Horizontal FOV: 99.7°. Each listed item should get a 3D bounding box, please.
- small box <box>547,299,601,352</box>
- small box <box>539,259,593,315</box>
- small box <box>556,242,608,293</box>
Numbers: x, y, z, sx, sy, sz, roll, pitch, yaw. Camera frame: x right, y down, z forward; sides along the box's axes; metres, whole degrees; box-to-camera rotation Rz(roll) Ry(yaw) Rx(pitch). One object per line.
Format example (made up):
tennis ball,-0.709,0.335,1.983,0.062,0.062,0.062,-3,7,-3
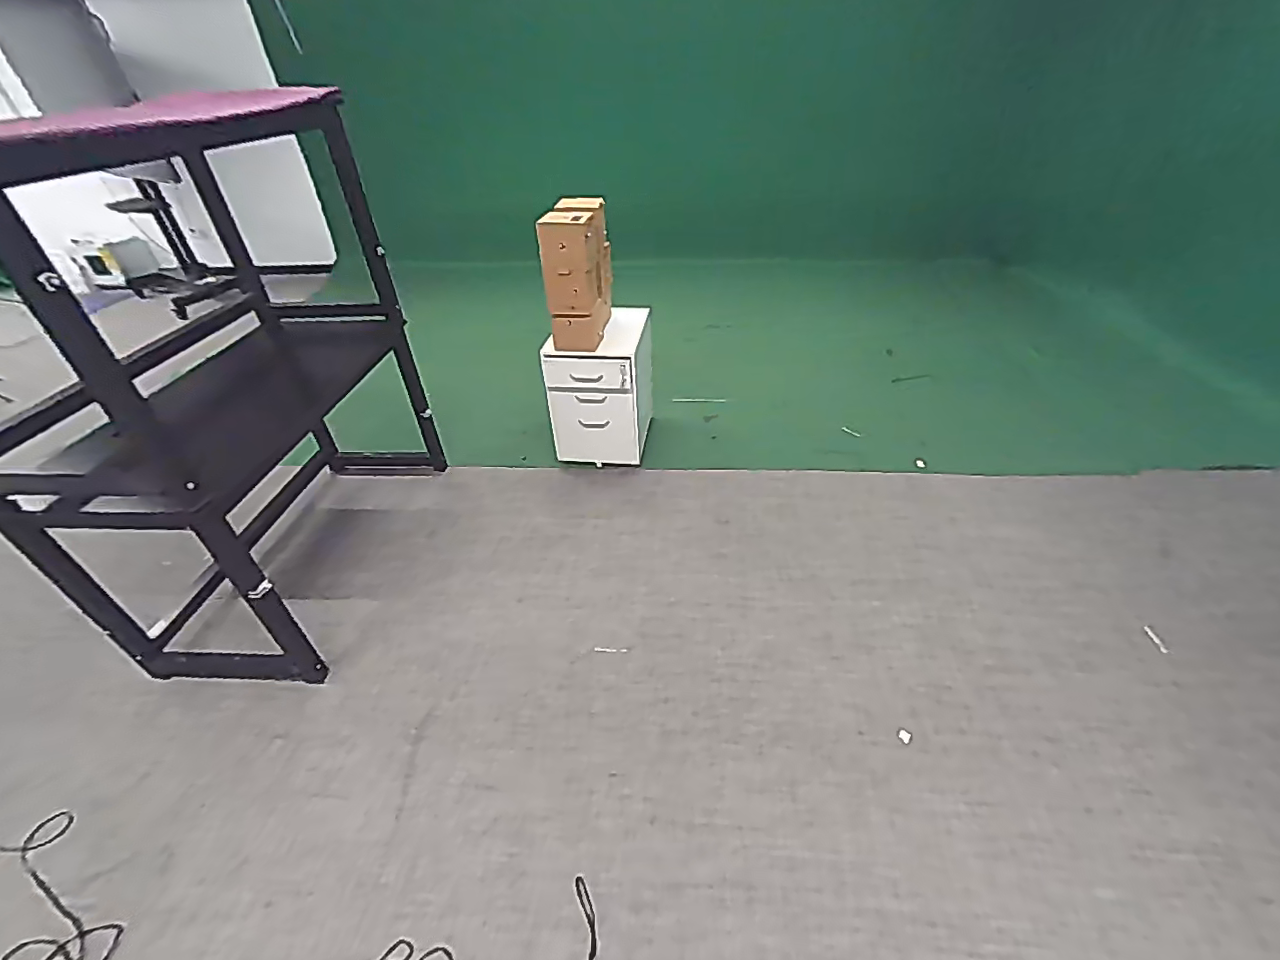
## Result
small box,-0.266,-0.633,2.215,0.179,0.176,0.168,5,38,9
small box,-0.280,-0.751,2.104,0.168,0.176,0.179,4,37,6
small box,-0.242,-0.903,2.300,0.179,0.176,0.168,6,39,9
